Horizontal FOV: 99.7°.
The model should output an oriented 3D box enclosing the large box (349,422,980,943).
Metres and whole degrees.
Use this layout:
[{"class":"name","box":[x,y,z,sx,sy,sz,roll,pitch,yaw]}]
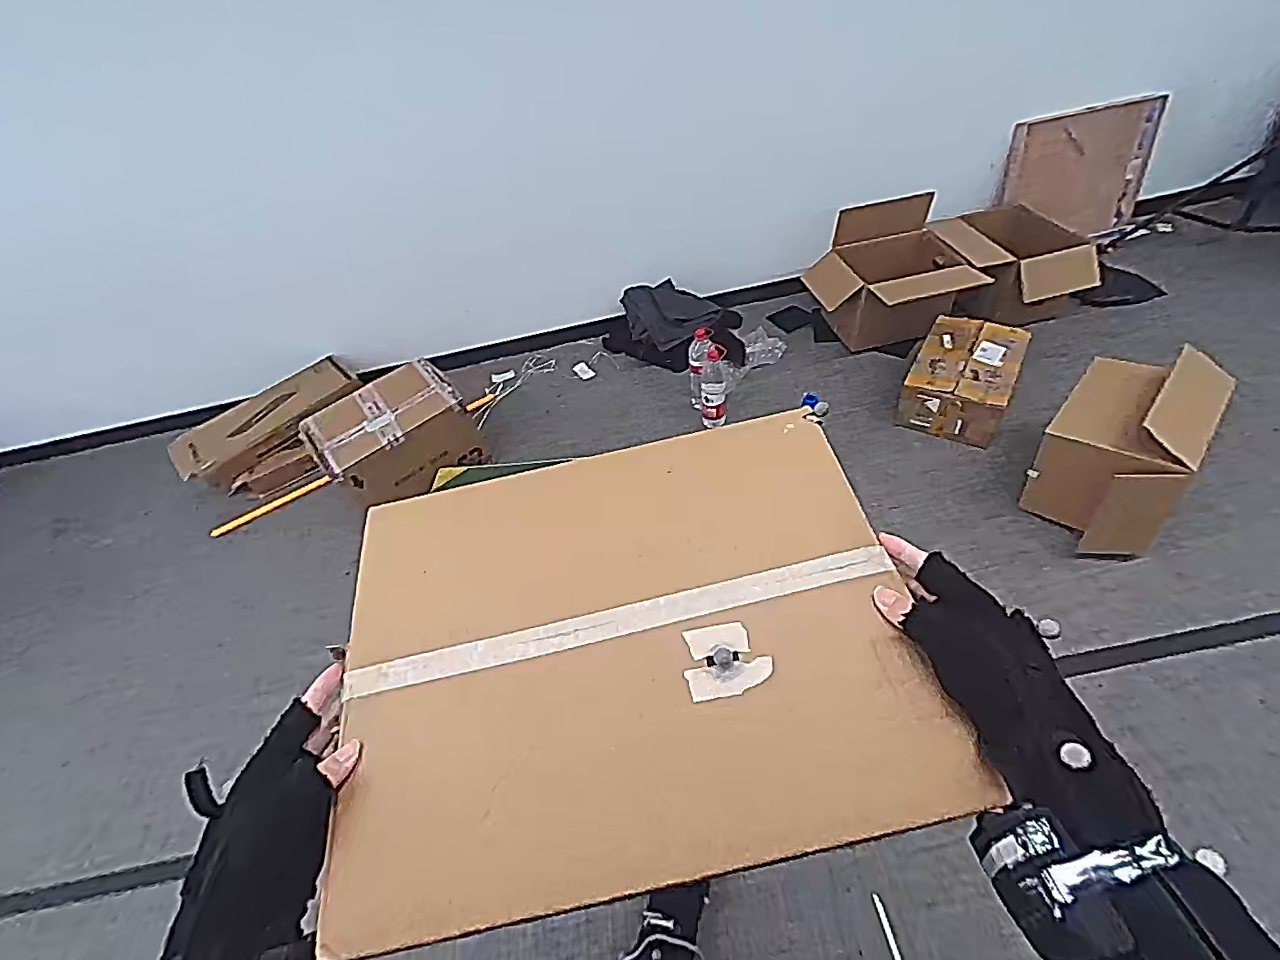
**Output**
[{"class":"large box","box":[0.005,0.195,0.532,0.408,0.320,0.320,-13,55,-1]}]
